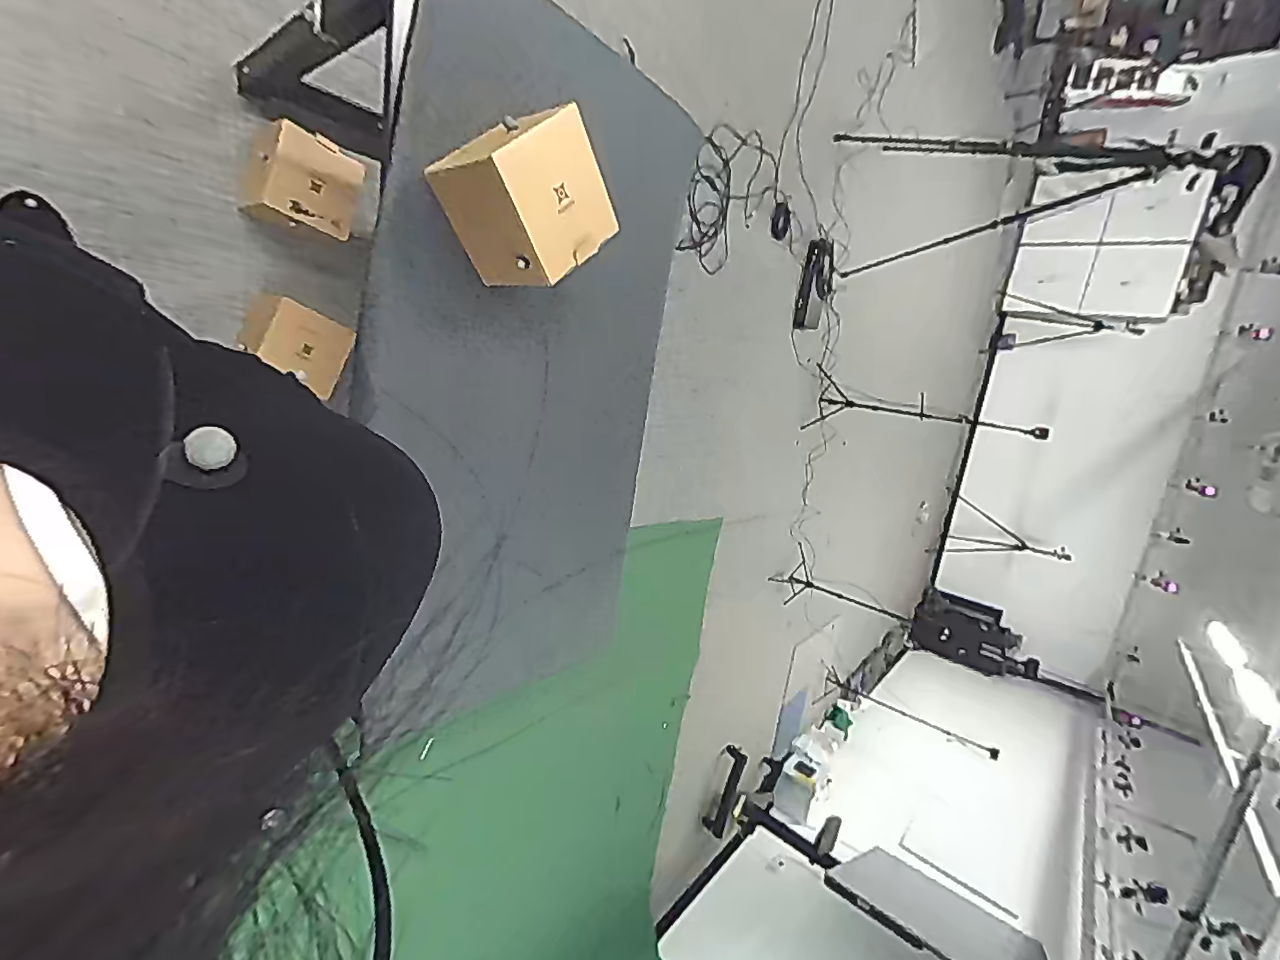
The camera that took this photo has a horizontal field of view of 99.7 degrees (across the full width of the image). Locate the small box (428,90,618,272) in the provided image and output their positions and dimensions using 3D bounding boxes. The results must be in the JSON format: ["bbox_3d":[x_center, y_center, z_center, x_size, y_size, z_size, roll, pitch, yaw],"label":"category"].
[{"bbox_3d":[-0.167,-0.420,0.781,0.168,0.176,0.179,-51,138,-25],"label":"small box"}]

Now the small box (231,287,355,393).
[{"bbox_3d":[-0.796,-0.320,1.235,0.168,0.176,0.179,27,82,-53],"label":"small box"}]

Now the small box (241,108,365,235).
[{"bbox_3d":[-0.736,-0.657,1.176,0.168,0.176,0.179,13,93,-52],"label":"small box"}]
